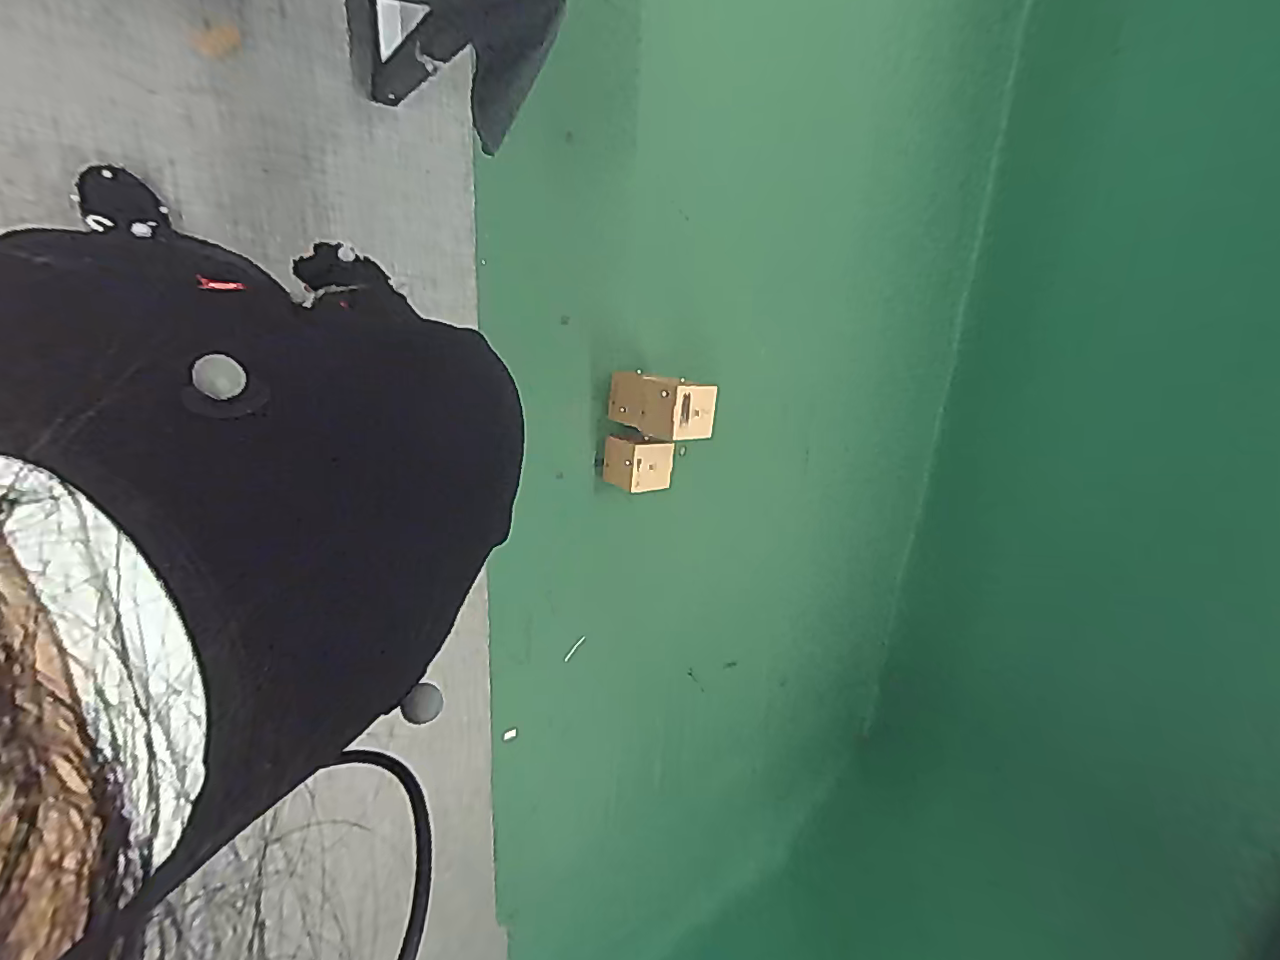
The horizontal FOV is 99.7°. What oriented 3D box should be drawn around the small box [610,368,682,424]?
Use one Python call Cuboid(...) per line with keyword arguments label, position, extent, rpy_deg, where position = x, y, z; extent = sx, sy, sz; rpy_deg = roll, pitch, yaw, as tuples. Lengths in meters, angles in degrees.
Cuboid(label="small box", position=(0.016, -0.286, 1.838), extent=(0.179, 0.176, 0.168), rpy_deg=(-5, 108, -39))
